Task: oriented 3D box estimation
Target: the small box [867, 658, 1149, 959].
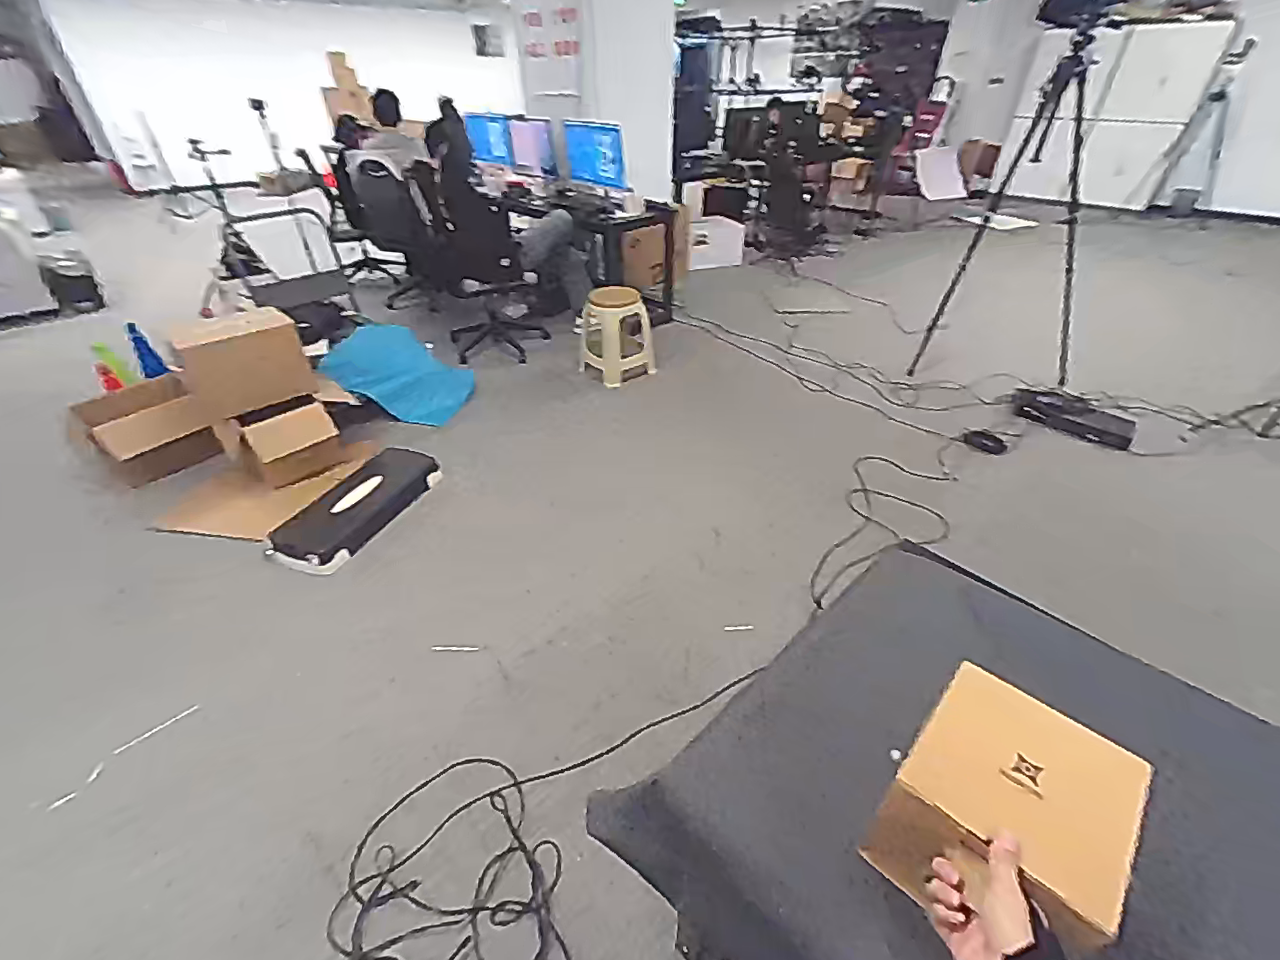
[{"bbox_3d":[0.353,0.326,0.542,0.168,0.176,0.179,30,47,34],"label":"small box"}]
